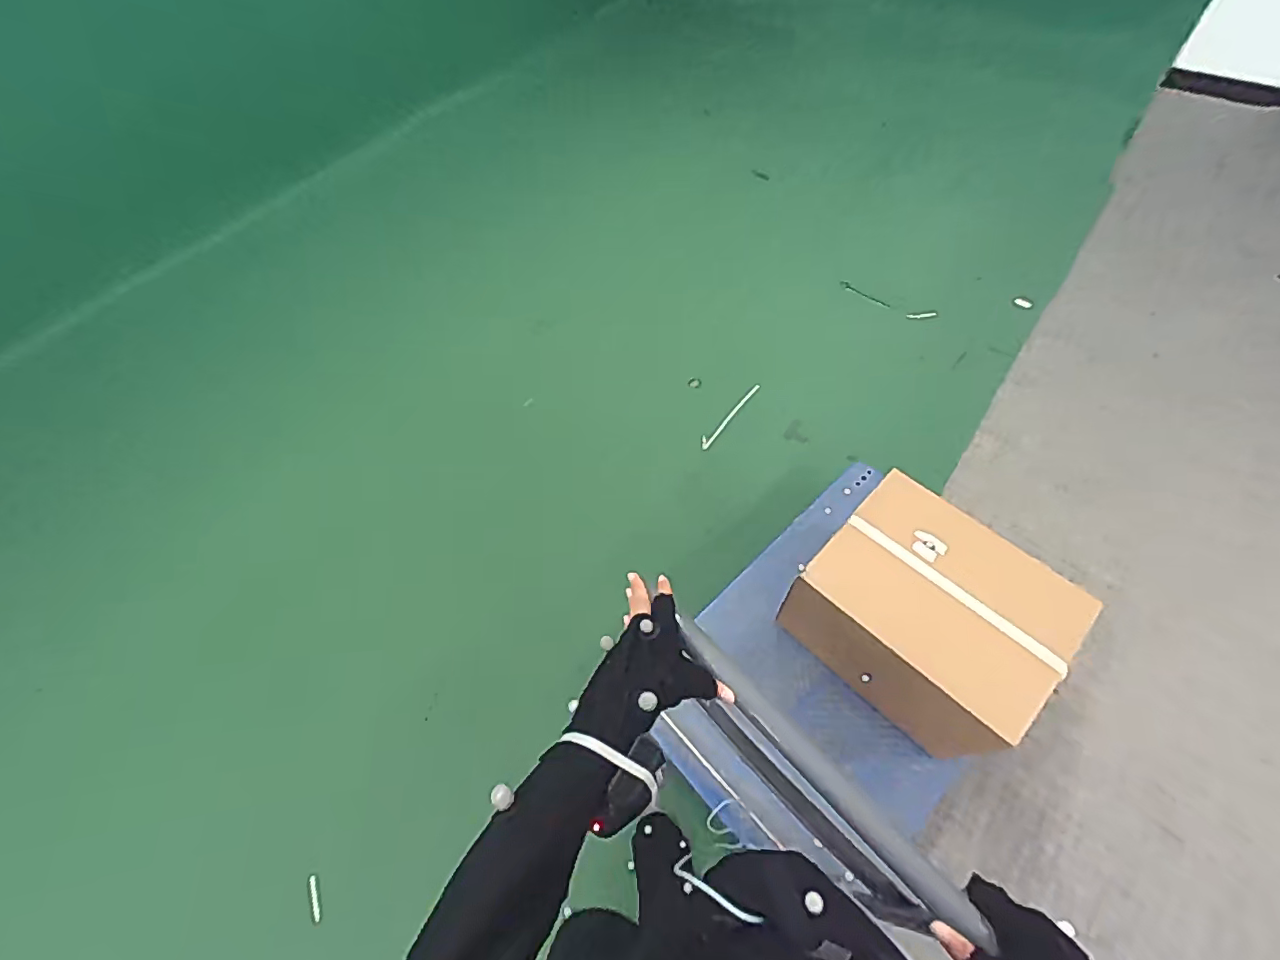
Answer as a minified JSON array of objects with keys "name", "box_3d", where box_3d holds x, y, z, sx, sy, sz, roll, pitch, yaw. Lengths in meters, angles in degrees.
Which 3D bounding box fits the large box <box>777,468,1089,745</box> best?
[{"name":"large box","box_3d":[0.546,0.259,1.092,0.408,0.320,0.320,39,70,24]}]
